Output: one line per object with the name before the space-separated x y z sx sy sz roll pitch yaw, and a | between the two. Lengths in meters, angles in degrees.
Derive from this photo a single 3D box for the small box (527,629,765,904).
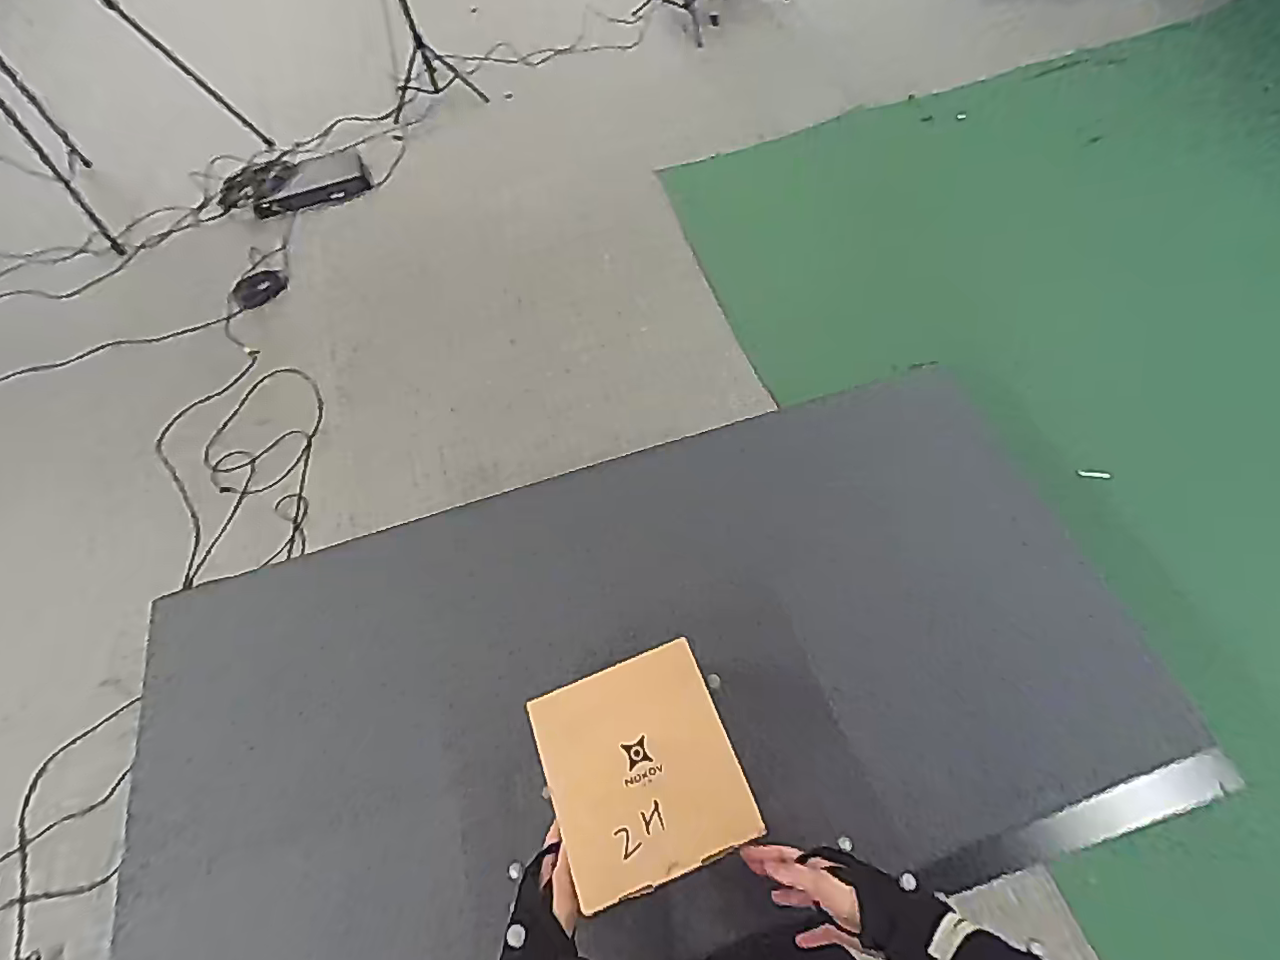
small box | 0.004 0.278 0.542 0.168 0.176 0.179 -21 61 -5
